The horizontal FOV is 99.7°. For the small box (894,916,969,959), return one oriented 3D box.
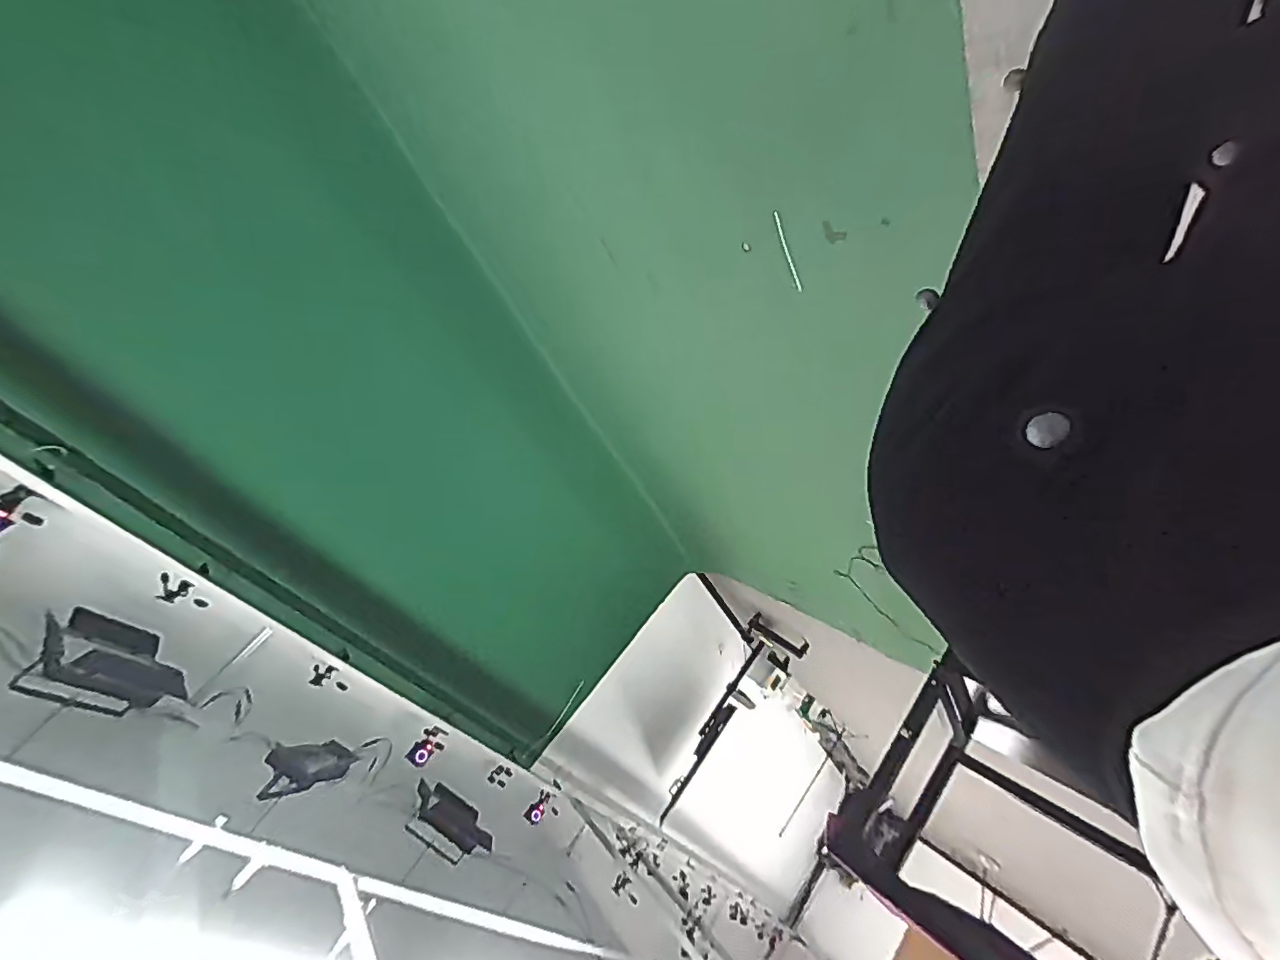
[{"bbox_3d":[0.836,1.395,1.530,0.179,0.176,0.168,21,151,48],"label":"small box"}]
